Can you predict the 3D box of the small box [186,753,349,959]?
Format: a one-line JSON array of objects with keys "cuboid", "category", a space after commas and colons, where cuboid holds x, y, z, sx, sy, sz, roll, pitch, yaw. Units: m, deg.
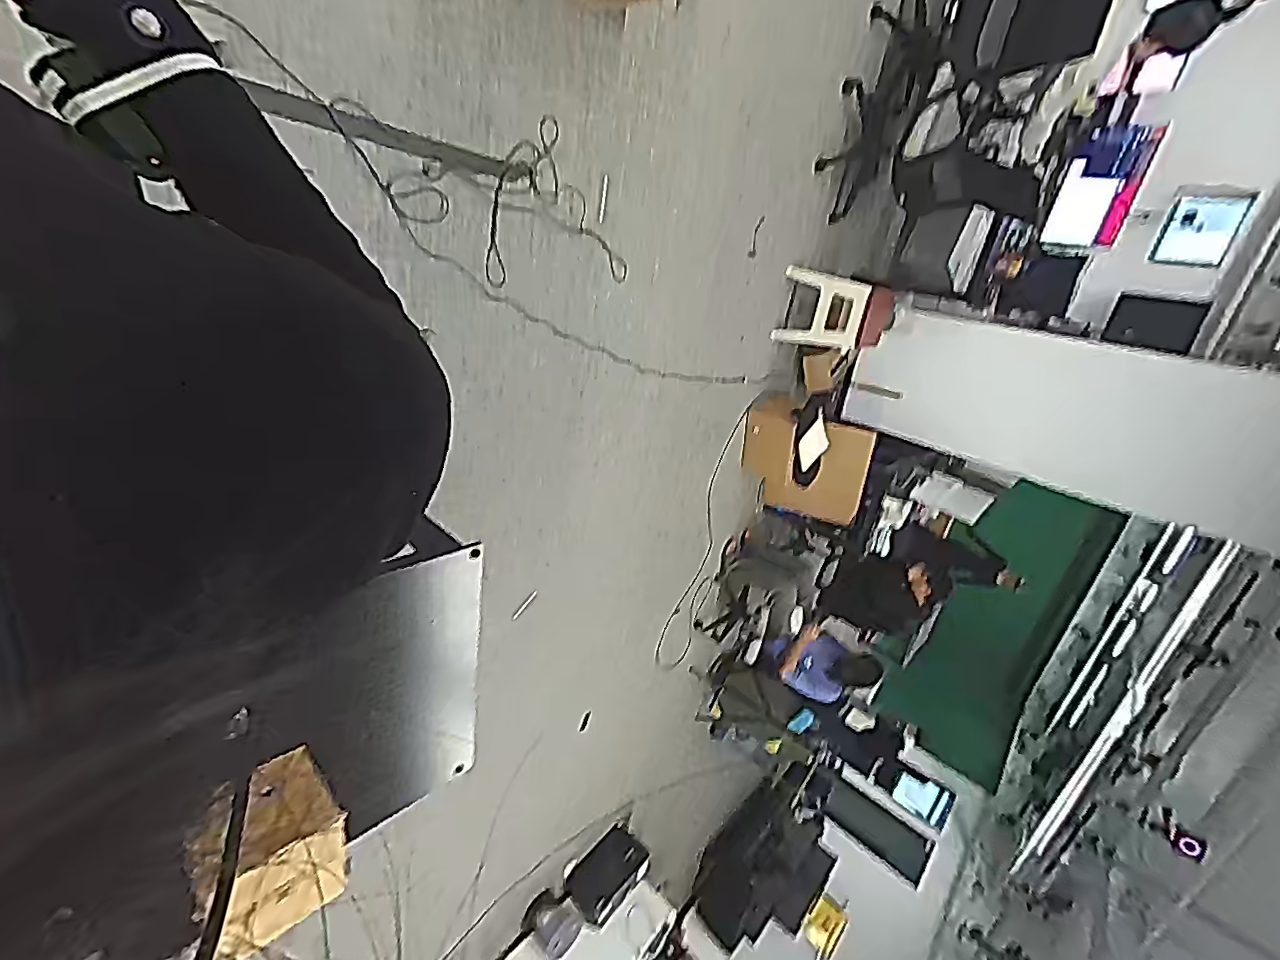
[{"cuboid": [-0.571, 0.571, 0.834, 0.168, 0.176, 0.179, -15, 122, -47], "category": "small box"}]
